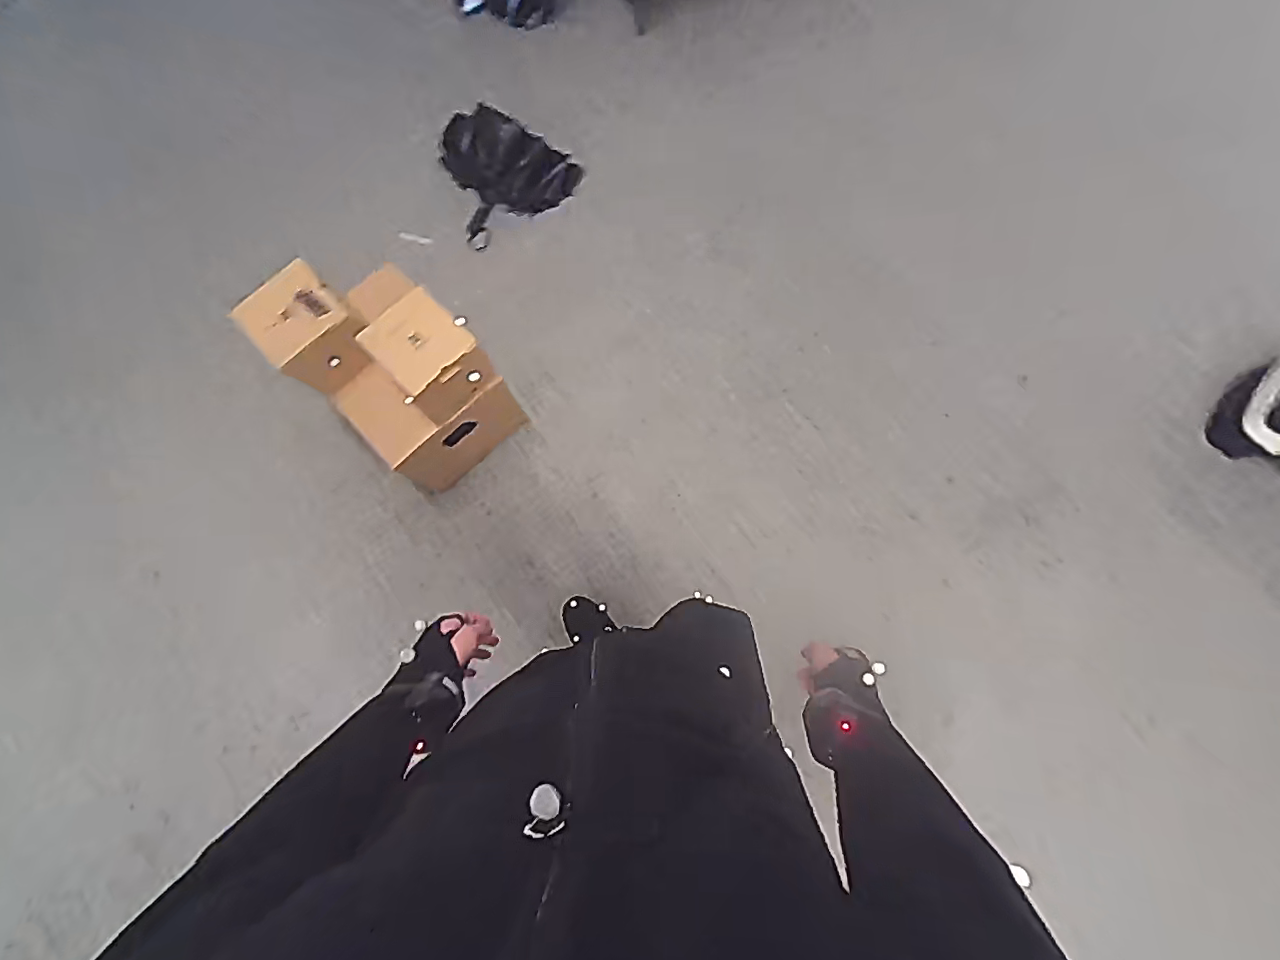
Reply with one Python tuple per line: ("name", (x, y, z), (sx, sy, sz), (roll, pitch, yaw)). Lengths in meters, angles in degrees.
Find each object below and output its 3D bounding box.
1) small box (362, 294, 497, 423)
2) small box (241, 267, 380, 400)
("small box", (-0.426, -0.240, 1.129), (0.179, 0.176, 0.168), (43, 78, 9))
("small box", (-0.670, -0.301, 1.140), (0.179, 0.176, 0.168), (-41, 81, -5))
